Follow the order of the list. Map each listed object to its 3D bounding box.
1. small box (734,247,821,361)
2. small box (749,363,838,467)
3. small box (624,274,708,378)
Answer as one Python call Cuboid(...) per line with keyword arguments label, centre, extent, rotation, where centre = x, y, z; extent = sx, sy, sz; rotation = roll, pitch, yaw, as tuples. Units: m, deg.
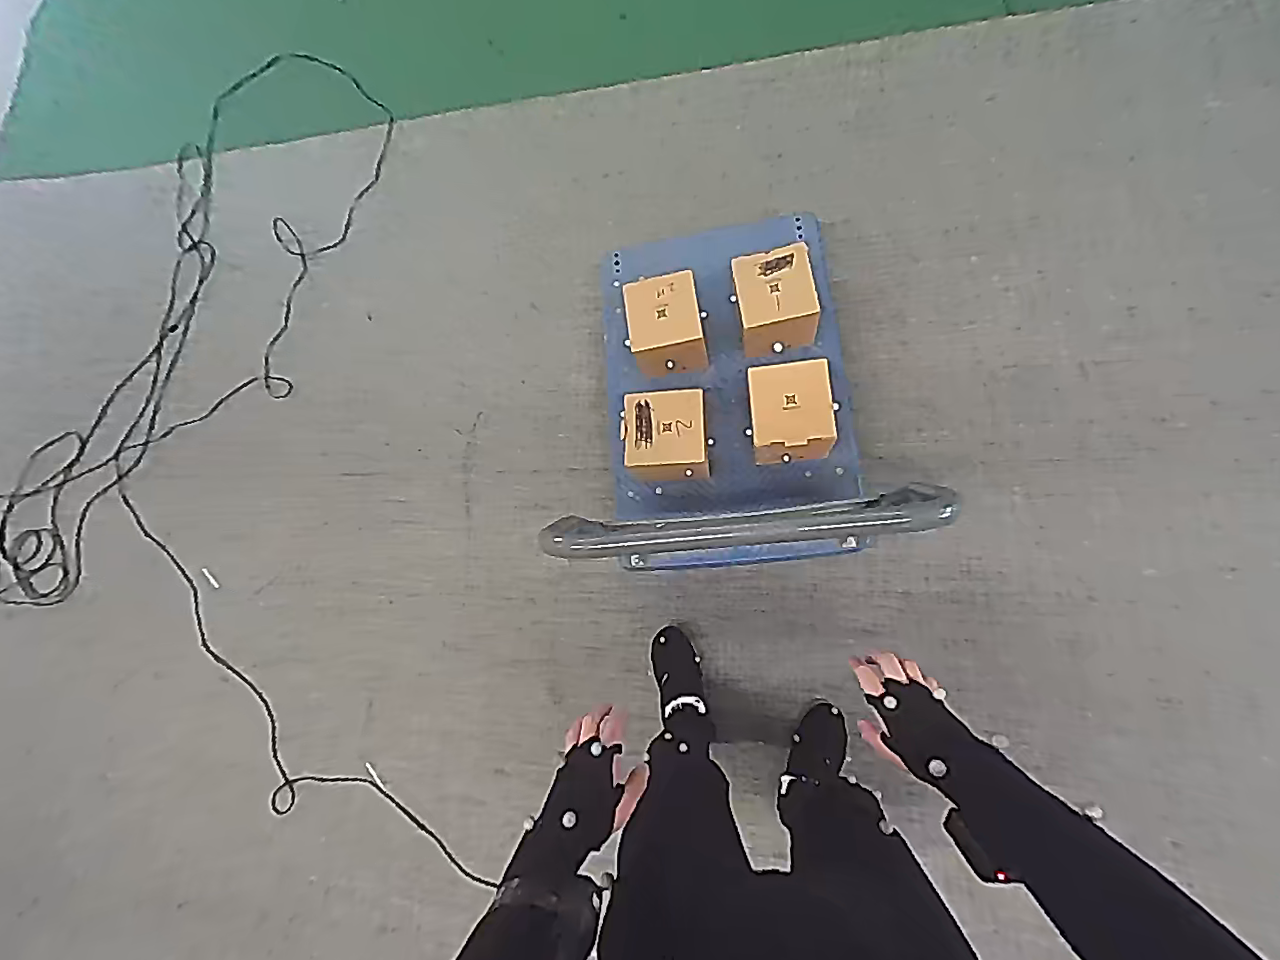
Cuboid(label="small box", centre=(0.314, -0.401, 1.257), extent=(0.168, 0.176, 0.179), rotation=(-10, 78, 11))
Cuboid(label="small box", centre=(0.332, -0.138, 1.200), extent=(0.168, 0.176, 0.179), rotation=(-5, 78, 10))
Cuboid(label="small box", centre=(0.068, -0.357, 1.300), extent=(0.168, 0.176, 0.179), rotation=(-9, 76, 9))
